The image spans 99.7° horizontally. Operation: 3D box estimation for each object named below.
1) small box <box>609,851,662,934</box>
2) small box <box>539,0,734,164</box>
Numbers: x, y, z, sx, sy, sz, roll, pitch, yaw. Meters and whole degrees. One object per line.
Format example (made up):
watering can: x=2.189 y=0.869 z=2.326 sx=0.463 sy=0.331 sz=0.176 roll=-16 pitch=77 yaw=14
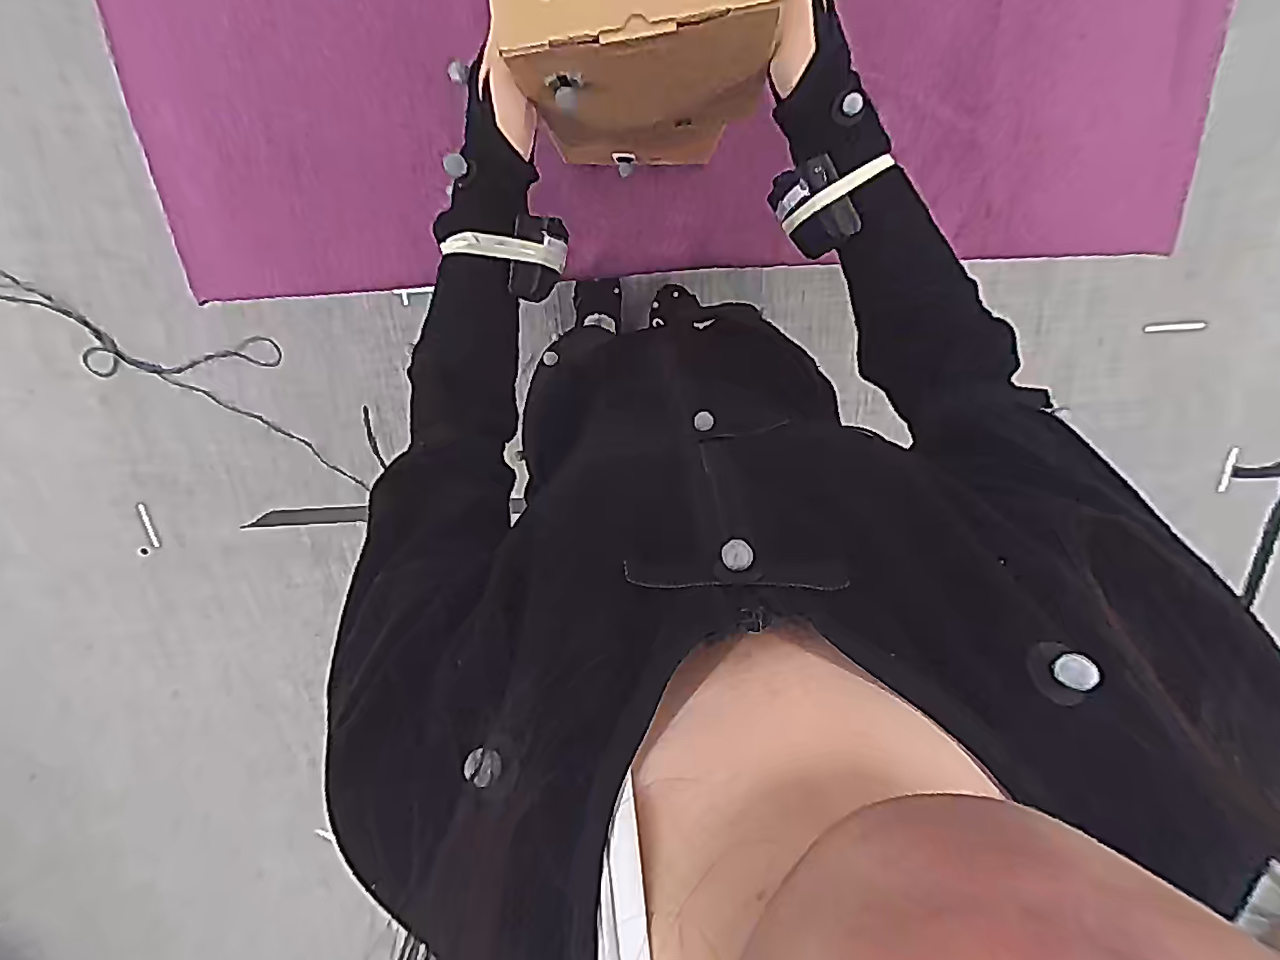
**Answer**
small box: x=-0.015 y=1.490 z=1.956 sx=0.168 sy=0.176 sz=0.179 roll=-9 pitch=110 yaw=1
small box: x=-0.004 y=-0.424 z=0.523 sx=0.168 sy=0.176 sz=0.179 roll=-1 pitch=110 yaw=0
